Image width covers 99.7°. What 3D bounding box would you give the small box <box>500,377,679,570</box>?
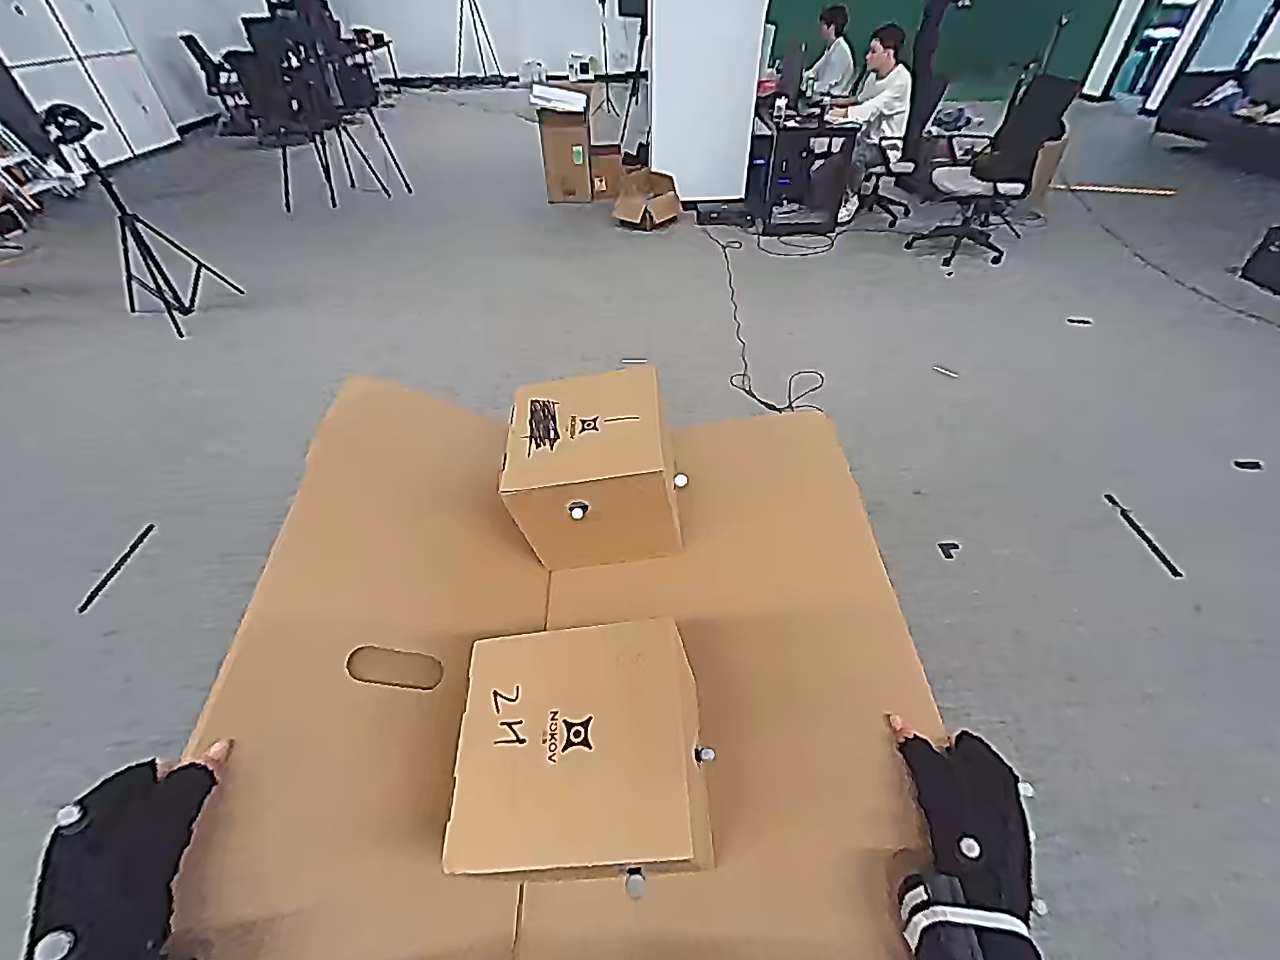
[{"bbox_3d":[-0.052,-0.001,0.675,0.179,0.176,0.168,-8,51,7],"label":"small box"}]

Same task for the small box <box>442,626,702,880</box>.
[{"bbox_3d":[-0.041,0.245,0.476,0.179,0.176,0.168,-8,51,8],"label":"small box"}]
